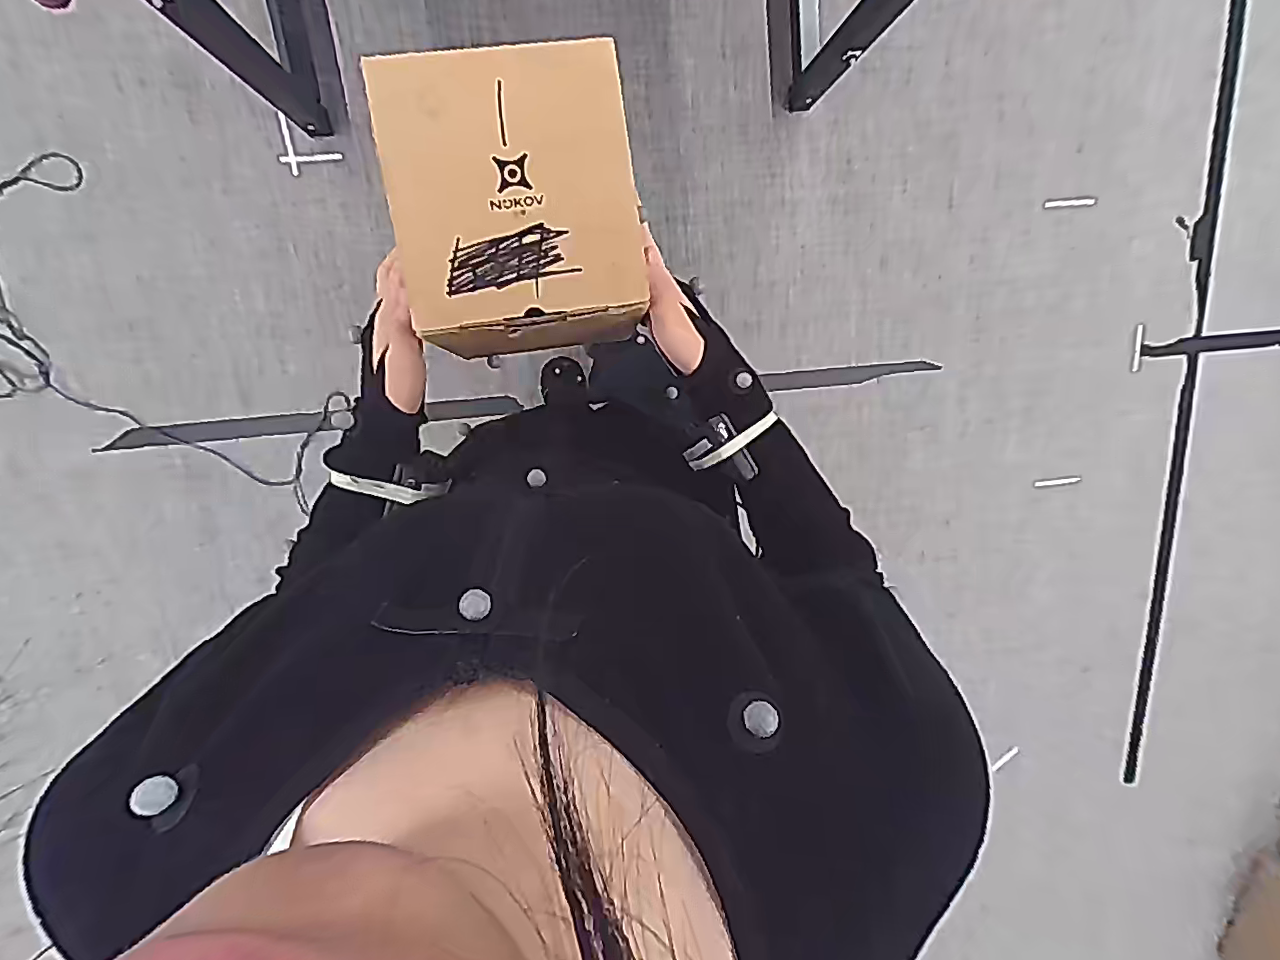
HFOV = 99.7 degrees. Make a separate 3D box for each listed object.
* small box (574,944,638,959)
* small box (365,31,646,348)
[{"bbox_3d":[-0.079,1.391,1.440,0.179,0.176,0.168,-8,103,-5],"label":"small box"},{"bbox_3d":[-0.093,-0.209,0.439,0.168,0.176,0.179,-9,96,-6],"label":"small box"}]
